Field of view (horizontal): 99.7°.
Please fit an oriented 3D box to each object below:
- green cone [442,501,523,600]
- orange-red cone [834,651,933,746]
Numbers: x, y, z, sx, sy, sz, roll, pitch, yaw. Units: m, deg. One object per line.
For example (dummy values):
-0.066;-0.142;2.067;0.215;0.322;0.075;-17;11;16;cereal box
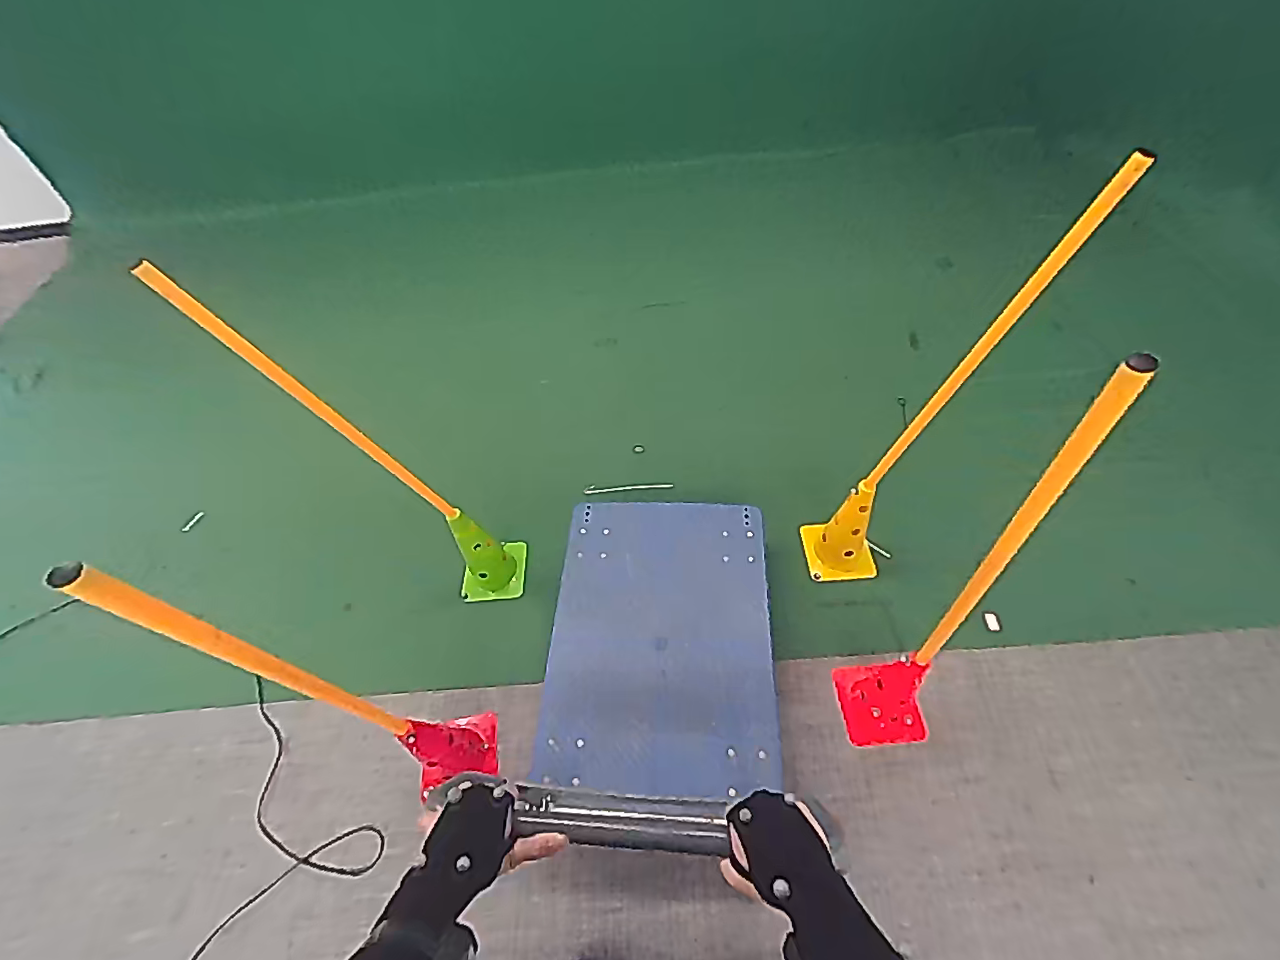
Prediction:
-0.496;0.184;1.602;0.200;0.368;0.202;-6;52;3;green cone
0.609;0.481;1.275;0.198;0.360;0.199;-4;52;2;orange-red cone
